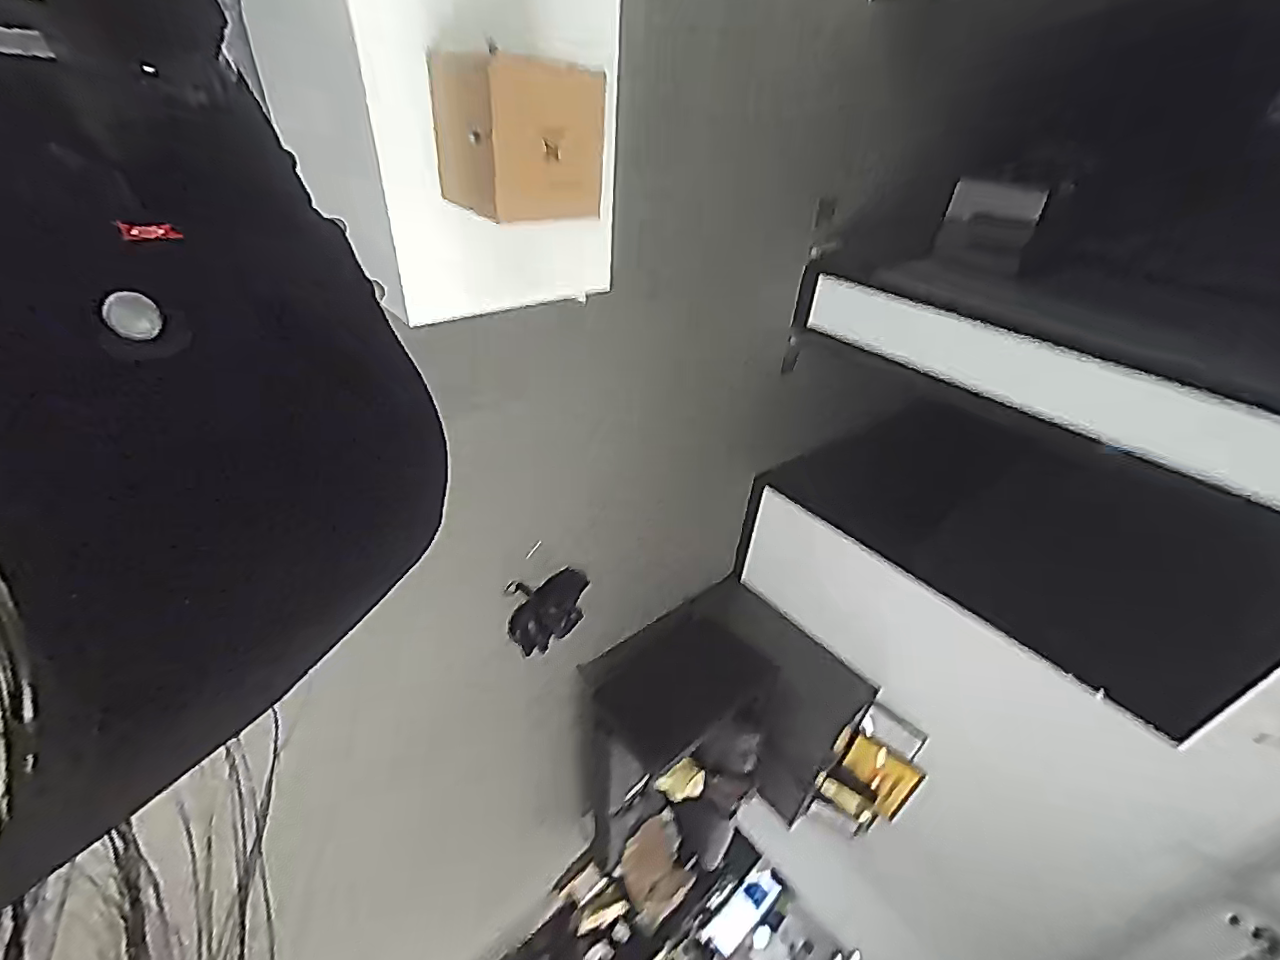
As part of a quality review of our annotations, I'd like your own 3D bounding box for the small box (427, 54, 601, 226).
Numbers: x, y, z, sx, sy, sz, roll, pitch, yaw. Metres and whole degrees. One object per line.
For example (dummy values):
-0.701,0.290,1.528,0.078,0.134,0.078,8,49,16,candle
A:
-0.171,-0.457,0.732,0.168,0.176,0.179,-23,135,-35,small box
